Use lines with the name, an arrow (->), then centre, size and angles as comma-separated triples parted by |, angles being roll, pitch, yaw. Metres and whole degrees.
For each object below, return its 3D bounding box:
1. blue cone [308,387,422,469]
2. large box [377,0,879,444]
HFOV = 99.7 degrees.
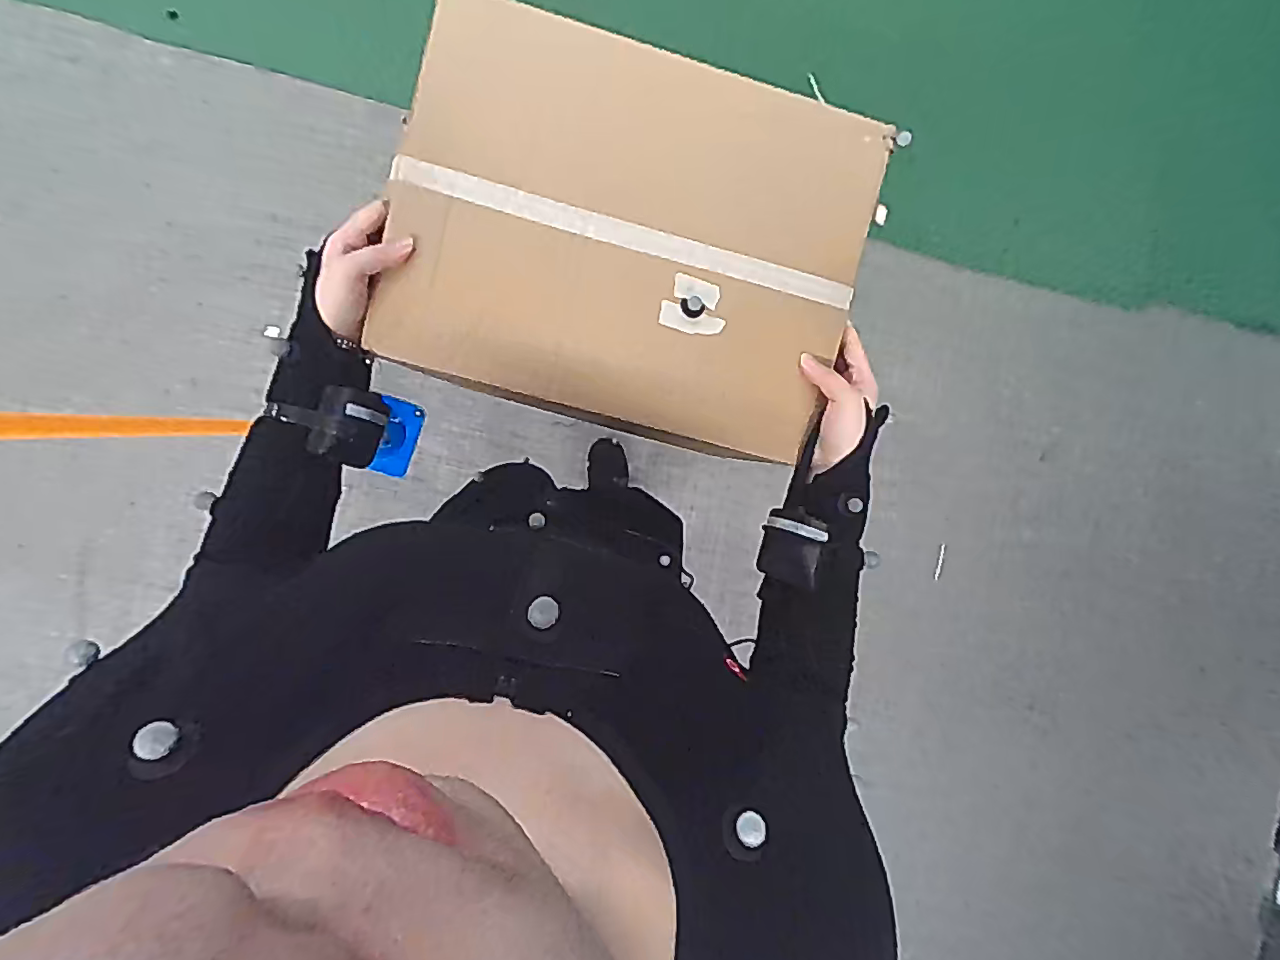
blue cone -> -0.669, -0.128, 1.259 | 0.193, 0.380, 0.192 | 21, 89, -8
large box -> -0.020, -0.232, 0.626 | 0.408, 0.320, 0.320 | 13, 94, -6
